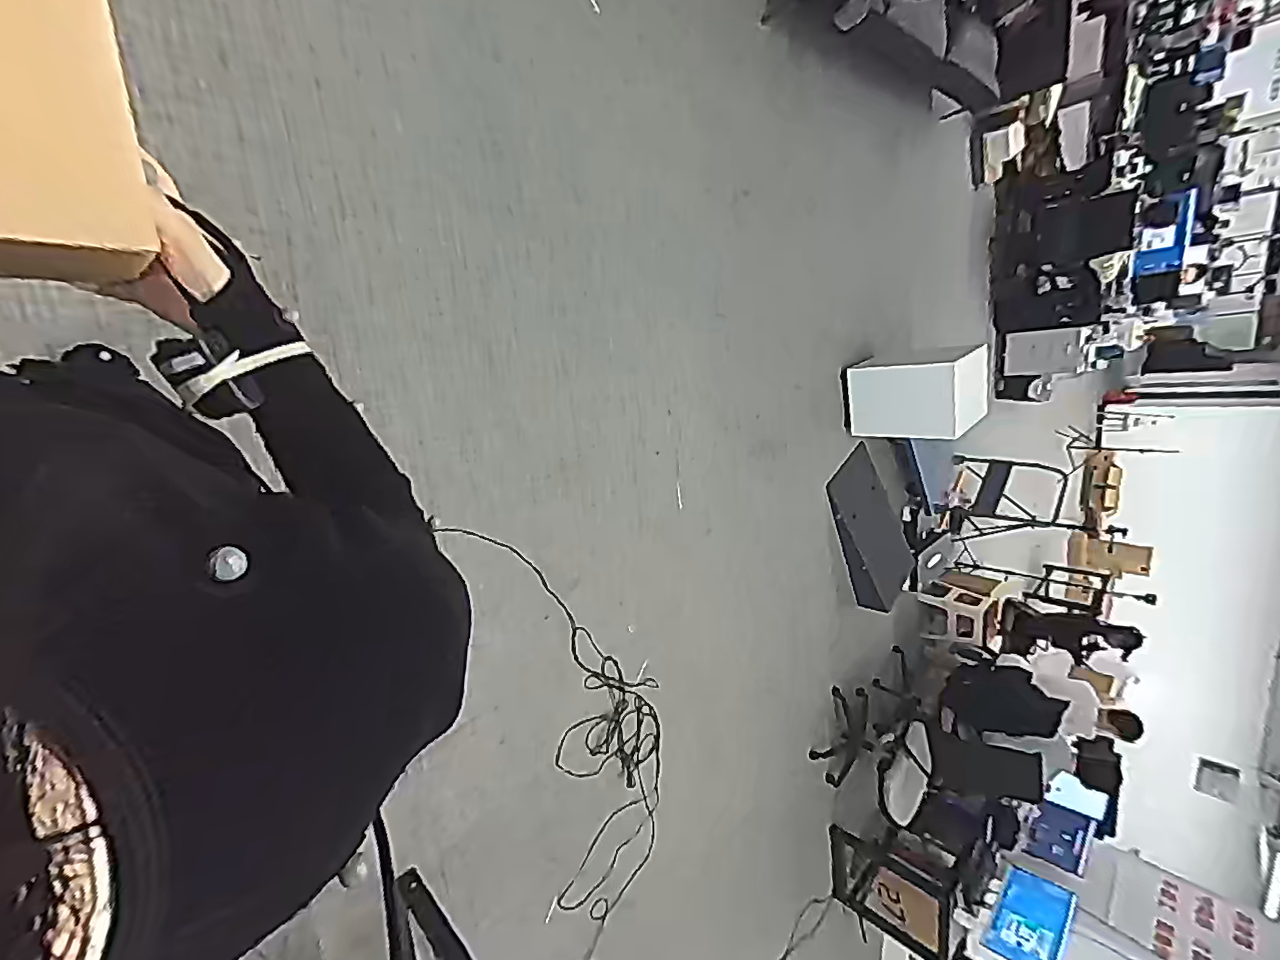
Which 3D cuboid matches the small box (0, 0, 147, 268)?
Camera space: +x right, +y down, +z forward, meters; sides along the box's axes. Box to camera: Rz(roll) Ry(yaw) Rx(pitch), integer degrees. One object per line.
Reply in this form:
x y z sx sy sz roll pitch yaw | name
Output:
-0.400 -0.210 0.282 0.179 0.176 0.168 -15 110 -44 | small box
